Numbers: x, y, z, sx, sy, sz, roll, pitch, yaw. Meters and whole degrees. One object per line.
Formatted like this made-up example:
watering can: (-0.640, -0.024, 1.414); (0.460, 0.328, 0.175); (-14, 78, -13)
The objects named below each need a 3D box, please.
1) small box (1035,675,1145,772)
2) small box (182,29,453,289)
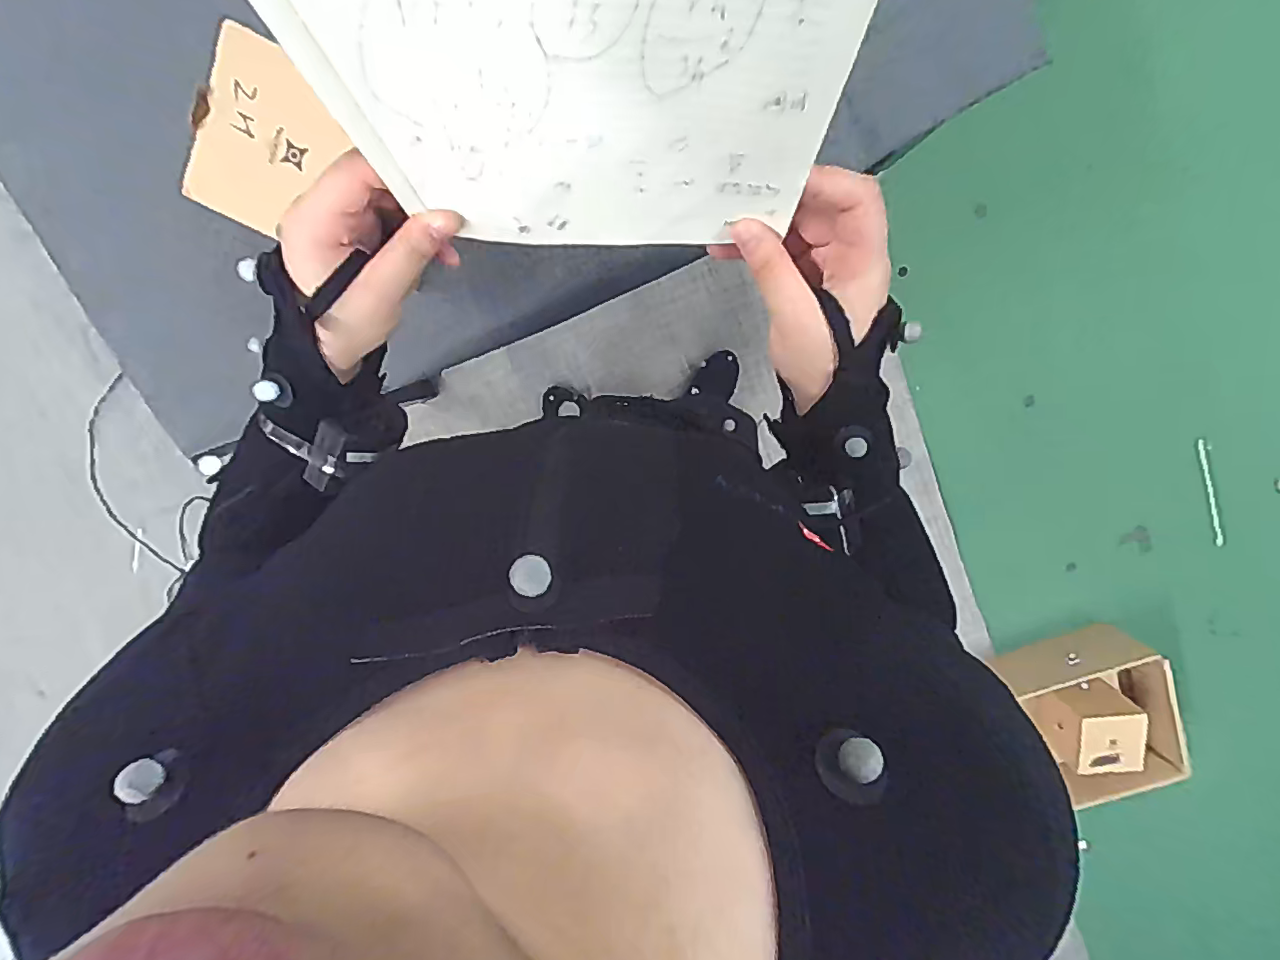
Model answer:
small box: (1.221, 0.664, 1.482); (0.168, 0.176, 0.179); (-6, 104, 4)
small box: (-0.335, -0.327, 0.597); (0.179, 0.176, 0.168); (25, 102, -4)
